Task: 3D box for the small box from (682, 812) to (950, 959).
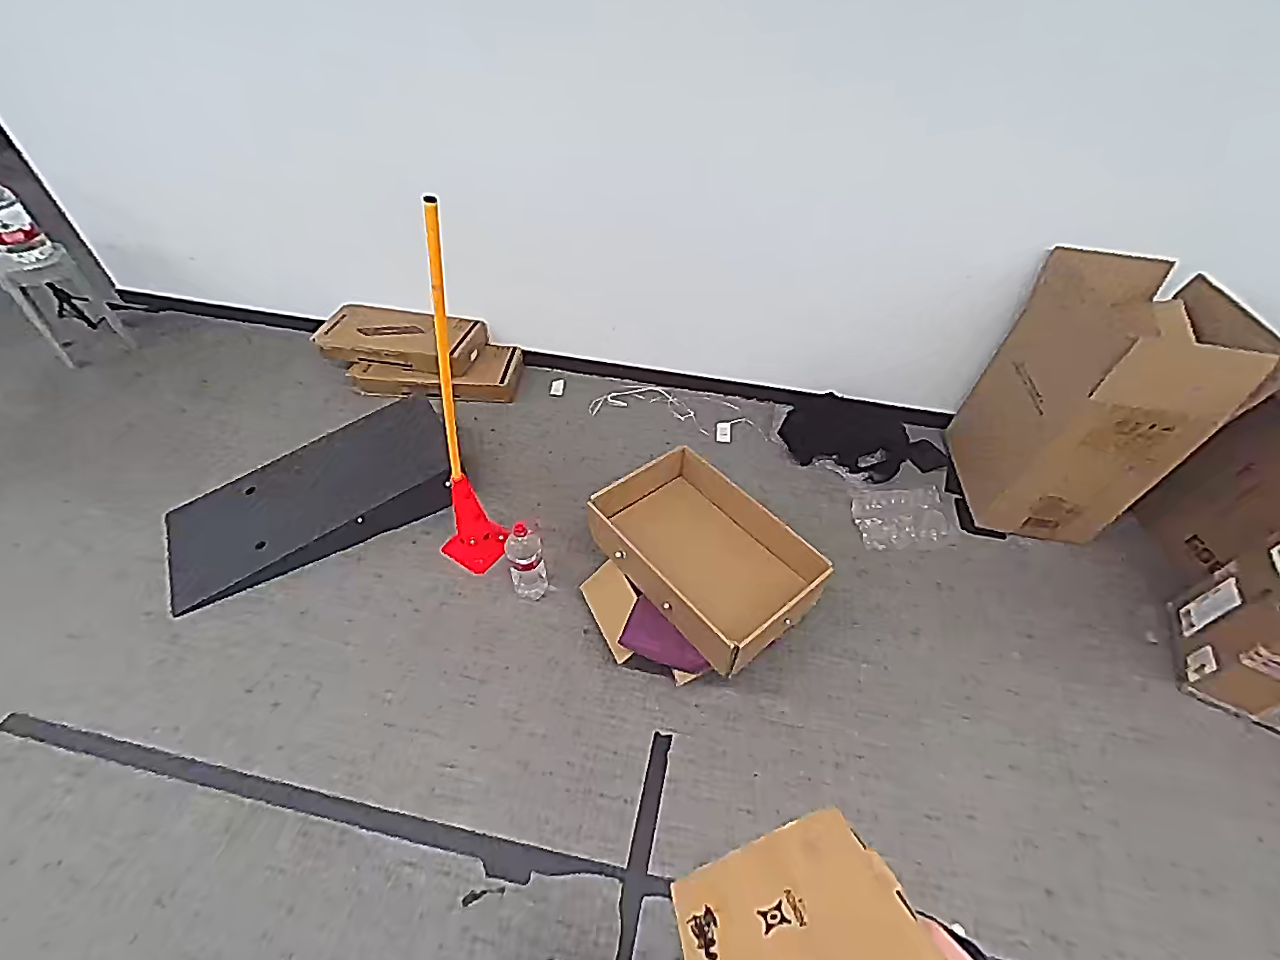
[{"bbox_3d":[0.154,0.432,0.447,0.179,0.168,0.176,-22,92,-4],"label":"small box"}]
